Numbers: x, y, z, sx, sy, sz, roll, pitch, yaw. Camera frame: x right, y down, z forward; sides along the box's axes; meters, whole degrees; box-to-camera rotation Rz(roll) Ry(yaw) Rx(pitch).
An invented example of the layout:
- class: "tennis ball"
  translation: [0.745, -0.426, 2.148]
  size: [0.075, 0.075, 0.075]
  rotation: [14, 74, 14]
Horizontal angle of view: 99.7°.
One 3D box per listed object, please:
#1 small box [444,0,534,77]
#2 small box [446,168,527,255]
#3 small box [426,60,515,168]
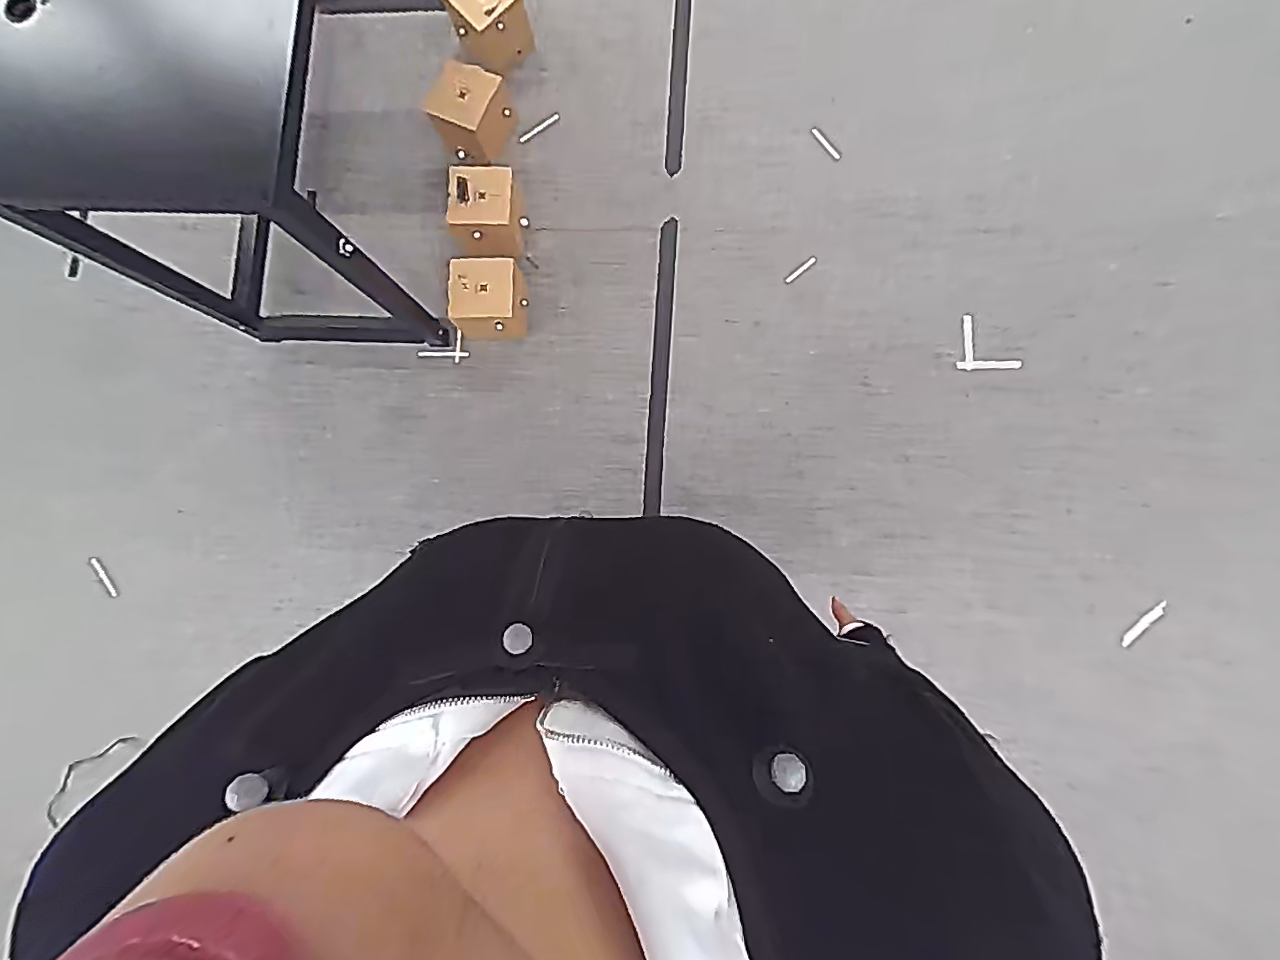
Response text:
- class: "small box"
  translation: [-0.444, -1.357, 1.599]
  size: [0.168, 0.176, 0.179]
  rotation: [-44, 84, -1]
- class: "small box"
  translation: [-0.433, -0.762, 1.546]
  size: [0.179, 0.176, 0.168]
  rotation: [2, 85, 2]
- class: "small box"
  translation: [-0.483, -1.057, 1.577]
  size: [0.168, 0.176, 0.179]
  rotation: [24, 87, 6]
